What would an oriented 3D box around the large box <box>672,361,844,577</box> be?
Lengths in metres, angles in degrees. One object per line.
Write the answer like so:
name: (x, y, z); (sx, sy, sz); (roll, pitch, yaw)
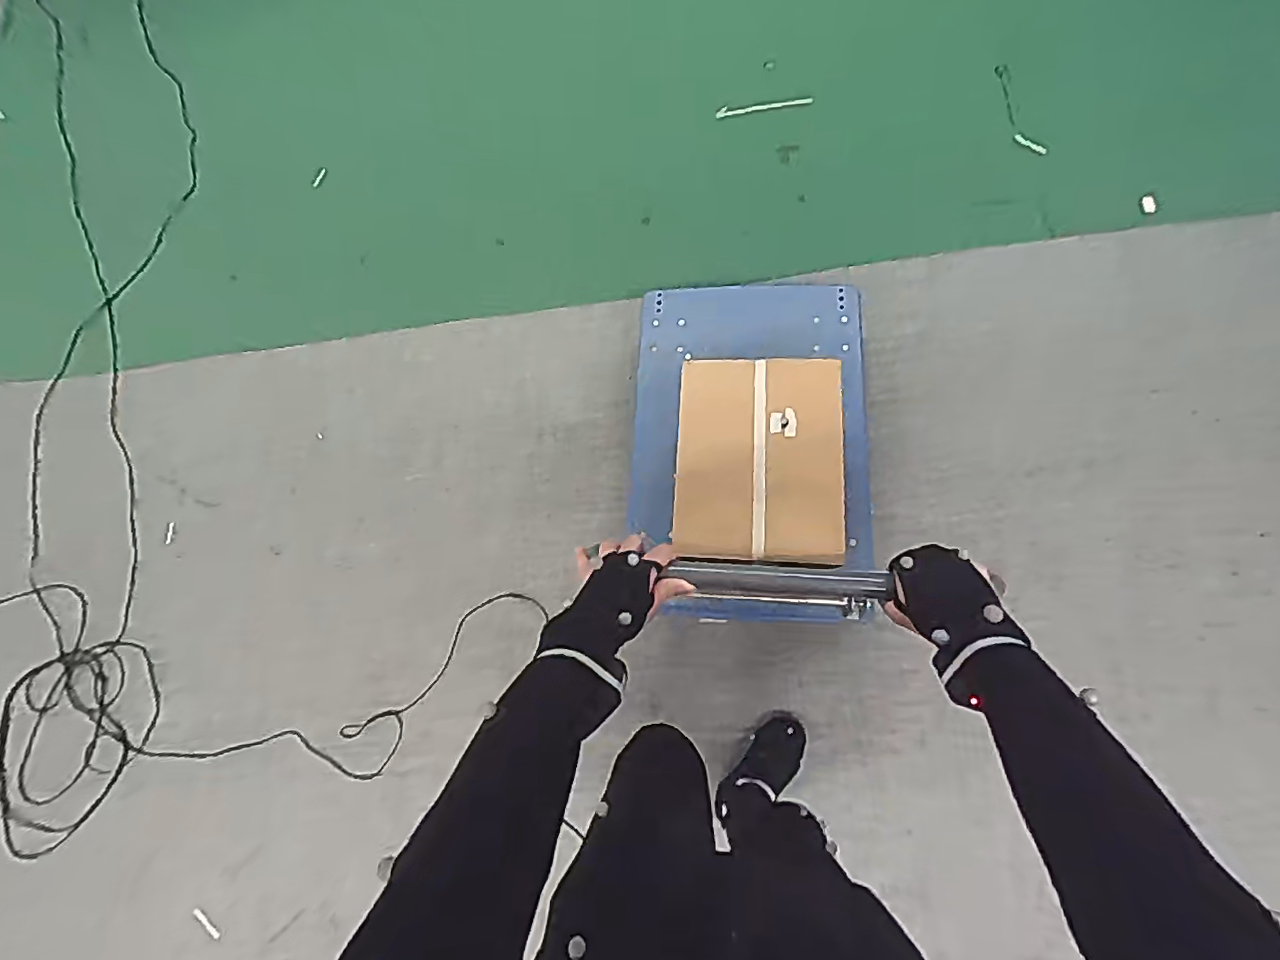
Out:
large box: (0.242, -0.005, 1.178); (0.320, 0.320, 0.408); (1, 74, 8)
